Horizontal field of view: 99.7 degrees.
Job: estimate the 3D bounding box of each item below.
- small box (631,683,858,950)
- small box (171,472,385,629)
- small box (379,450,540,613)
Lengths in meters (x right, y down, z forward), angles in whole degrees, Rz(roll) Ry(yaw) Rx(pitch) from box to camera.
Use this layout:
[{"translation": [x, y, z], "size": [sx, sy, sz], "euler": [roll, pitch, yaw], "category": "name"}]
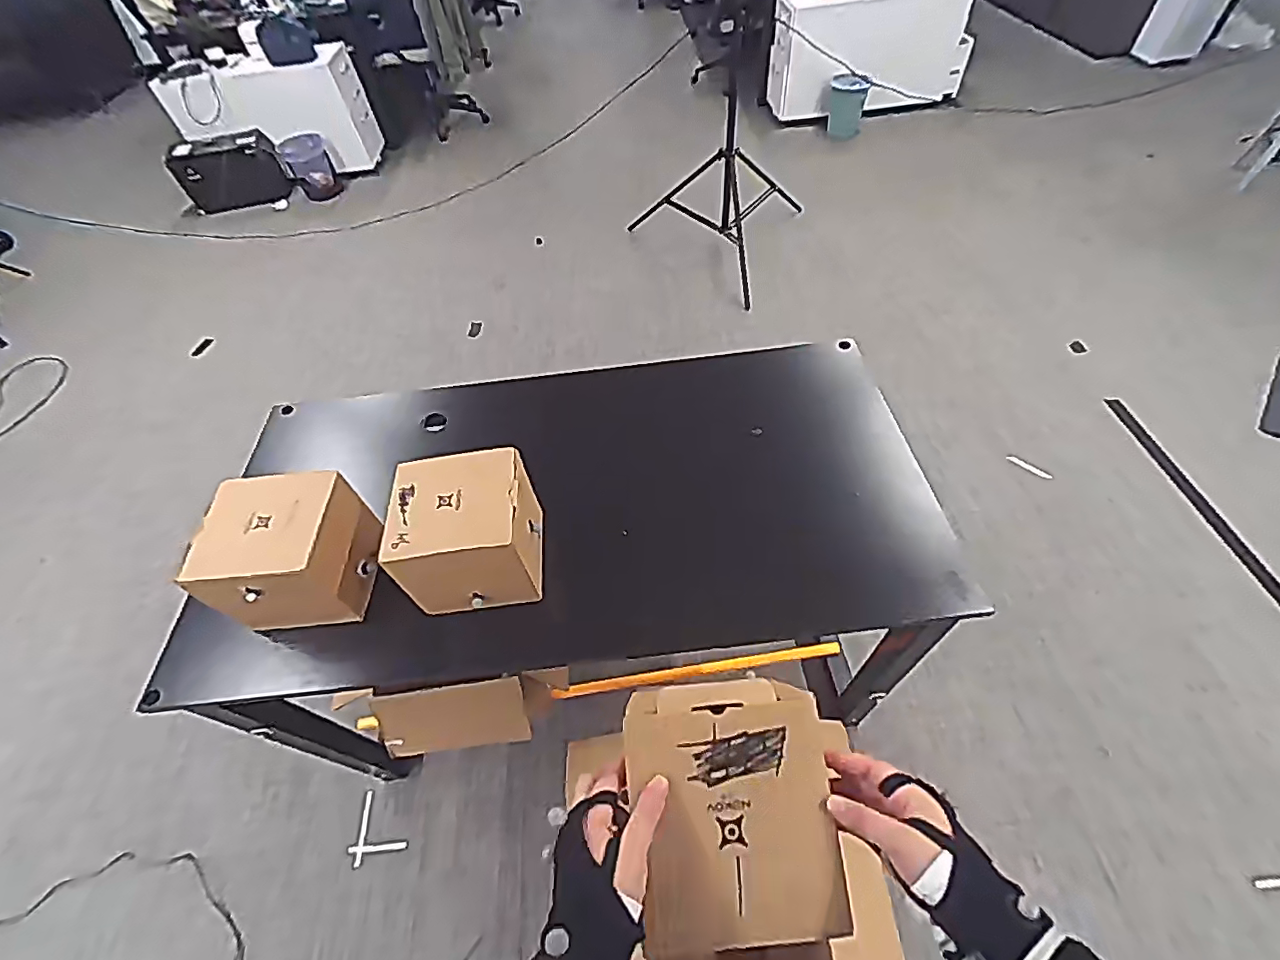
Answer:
[{"translation": [0.079, 0.289, 0.509], "size": [0.168, 0.176, 0.179], "euler": [-5, 73, 0], "category": "small box"}, {"translation": [-0.508, 0.109, 0.793], "size": [0.179, 0.176, 0.168], "euler": [-5, 53, 1], "category": "small box"}, {"translation": [-0.246, 0.079, 0.791], "size": [0.179, 0.176, 0.168], "euler": [-7, 52, -1], "category": "small box"}]
